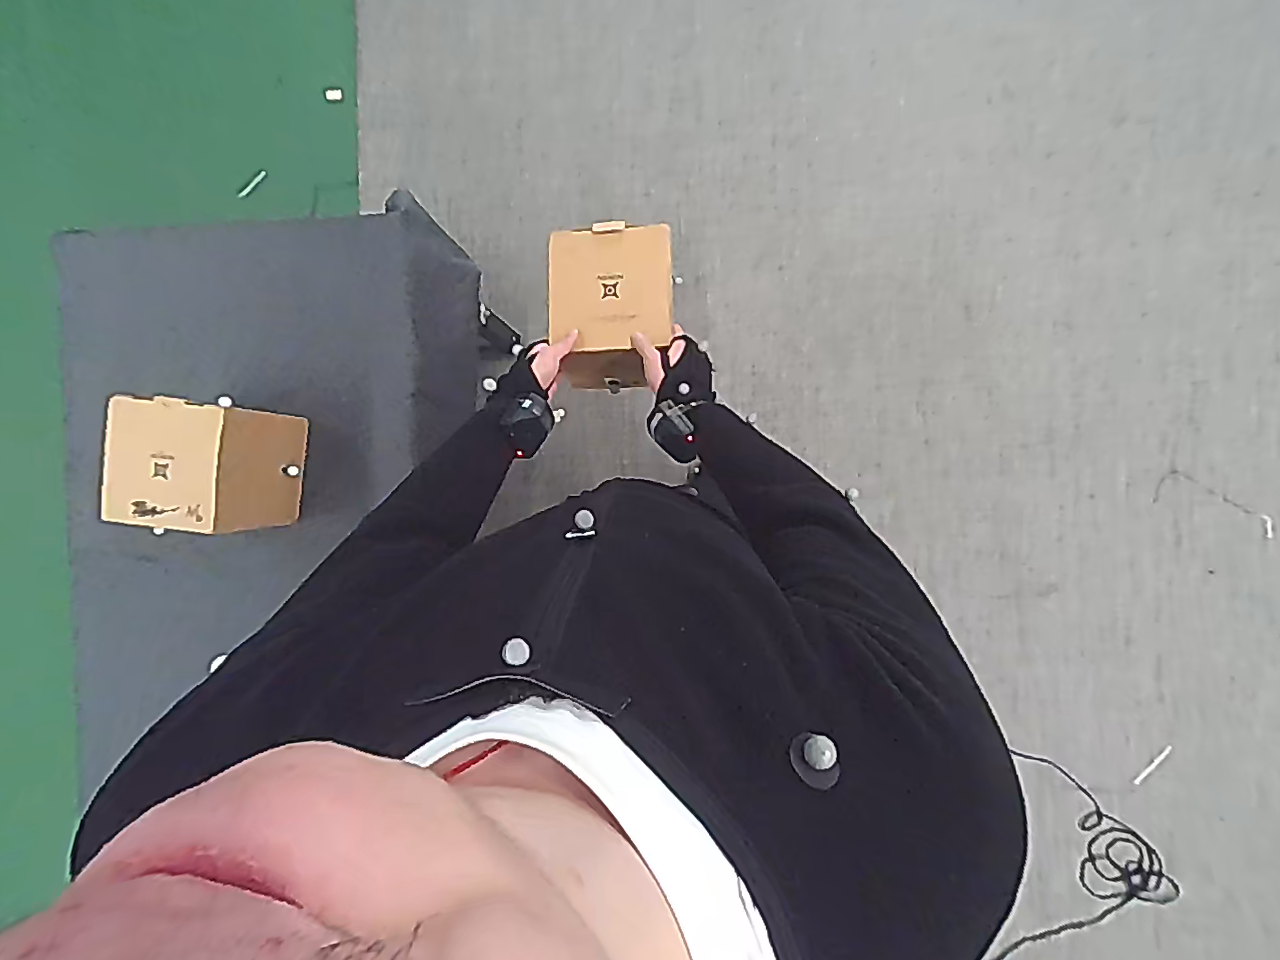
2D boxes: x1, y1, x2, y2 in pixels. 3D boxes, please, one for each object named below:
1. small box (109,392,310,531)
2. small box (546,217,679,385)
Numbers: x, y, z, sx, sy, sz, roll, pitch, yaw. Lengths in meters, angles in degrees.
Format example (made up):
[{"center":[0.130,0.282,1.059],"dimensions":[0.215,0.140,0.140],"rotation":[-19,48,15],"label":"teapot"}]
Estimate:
[{"center":[-0.635,-0.026,0.819],"dimensions":[0.168,0.176,0.179],"rotation":[7,91,4],"label":"small box"},{"center":[-0.030,-0.247,0.778],"dimensions":[0.168,0.176,0.179],"rotation":[0,82,7],"label":"small box"}]
